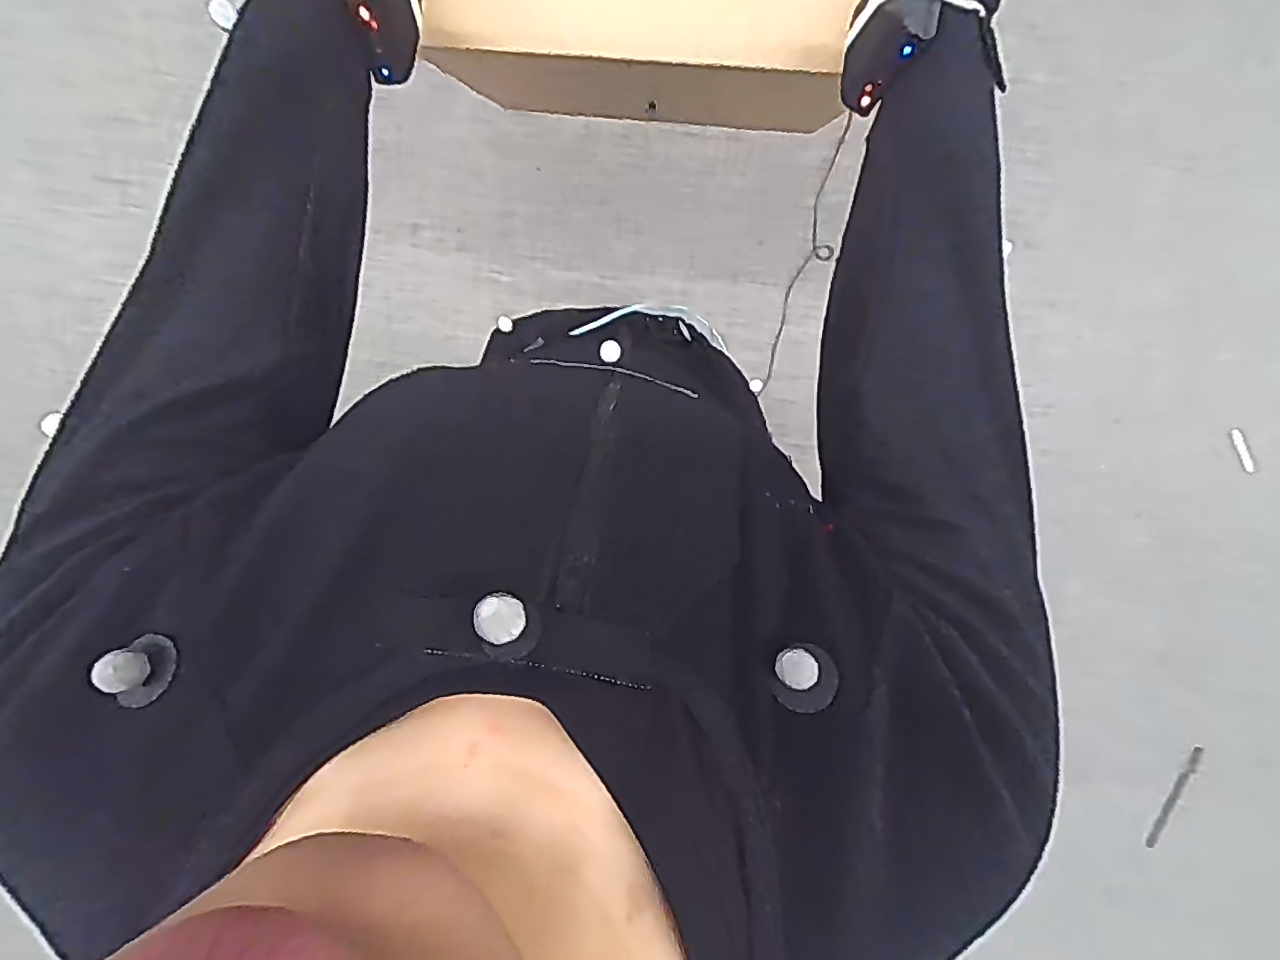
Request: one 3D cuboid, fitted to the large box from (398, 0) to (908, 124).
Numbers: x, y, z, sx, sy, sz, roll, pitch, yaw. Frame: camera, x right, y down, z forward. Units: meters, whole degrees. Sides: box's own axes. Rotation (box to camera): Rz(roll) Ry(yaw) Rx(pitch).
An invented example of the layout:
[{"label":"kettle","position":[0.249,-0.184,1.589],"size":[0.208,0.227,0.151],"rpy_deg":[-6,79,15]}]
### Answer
[{"label":"large box","position":[0.023,-0.539,0.501],"size":[0.408,0.320,0.320],"rpy_deg":[5,115,2]}]
